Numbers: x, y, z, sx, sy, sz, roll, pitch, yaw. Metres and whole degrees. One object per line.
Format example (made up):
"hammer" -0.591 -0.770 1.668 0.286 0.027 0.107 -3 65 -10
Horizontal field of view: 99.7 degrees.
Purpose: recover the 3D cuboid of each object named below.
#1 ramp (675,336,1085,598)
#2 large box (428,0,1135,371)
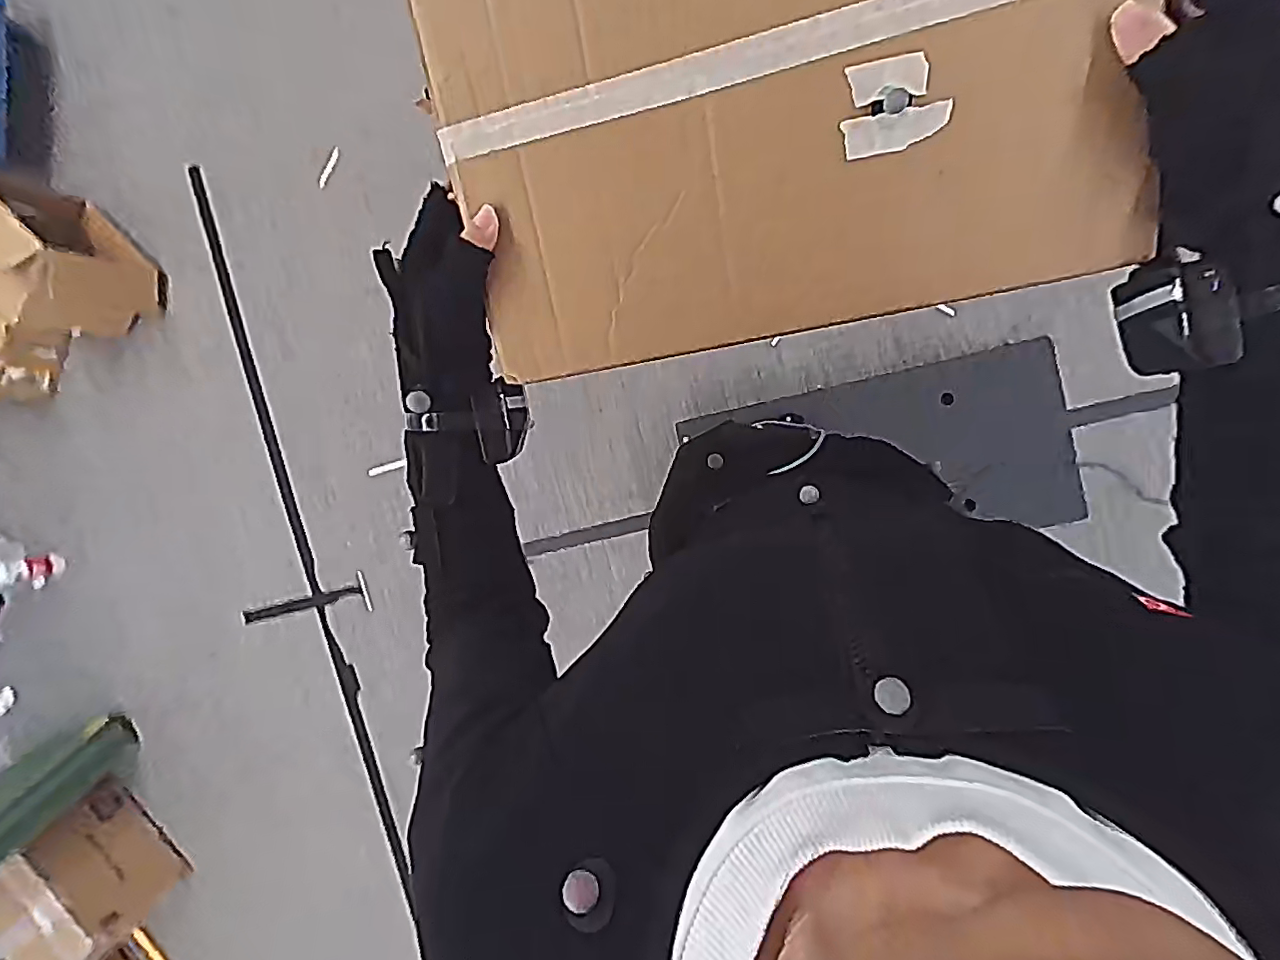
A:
"ramp" 0.627 -0.033 1.434 0.991 0.206 0.509 -15 90 12
"large box" 0.092 -0.293 0.469 0.408 0.320 0.320 -9 104 10
